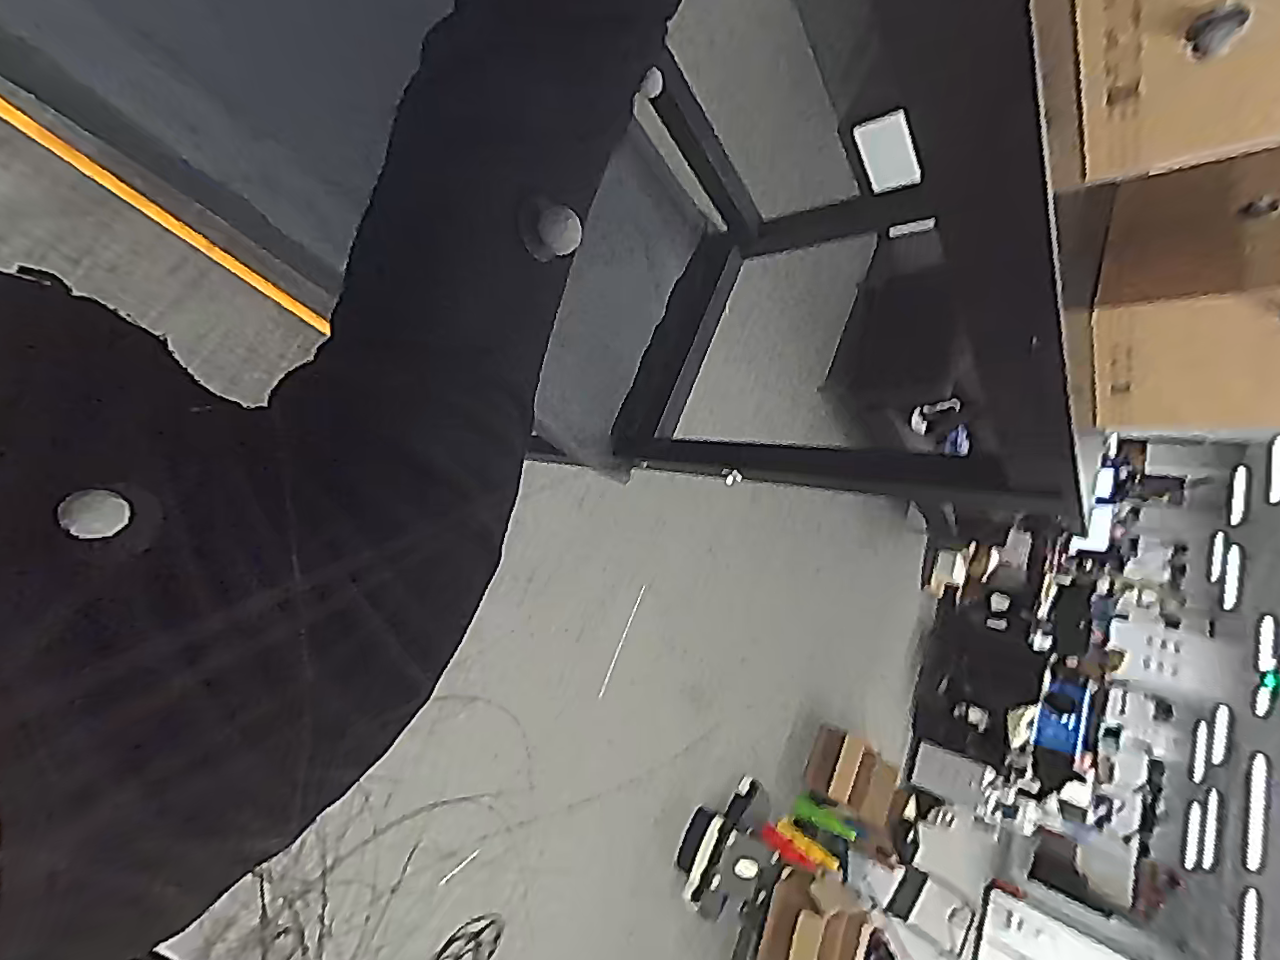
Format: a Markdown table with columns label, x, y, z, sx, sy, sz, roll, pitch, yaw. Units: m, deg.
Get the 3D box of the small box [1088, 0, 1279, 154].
| label | x | y | z | sx | sy | sz | roll | pitch | yaw |
| --- | --- | --- | --- | --- | --- | --- | --- | --- | --- |
| small box | 0.344 | -0.315 | 0.272 | 0.168 | 0.176 | 0.179 | 32 | 72 | -43 |
